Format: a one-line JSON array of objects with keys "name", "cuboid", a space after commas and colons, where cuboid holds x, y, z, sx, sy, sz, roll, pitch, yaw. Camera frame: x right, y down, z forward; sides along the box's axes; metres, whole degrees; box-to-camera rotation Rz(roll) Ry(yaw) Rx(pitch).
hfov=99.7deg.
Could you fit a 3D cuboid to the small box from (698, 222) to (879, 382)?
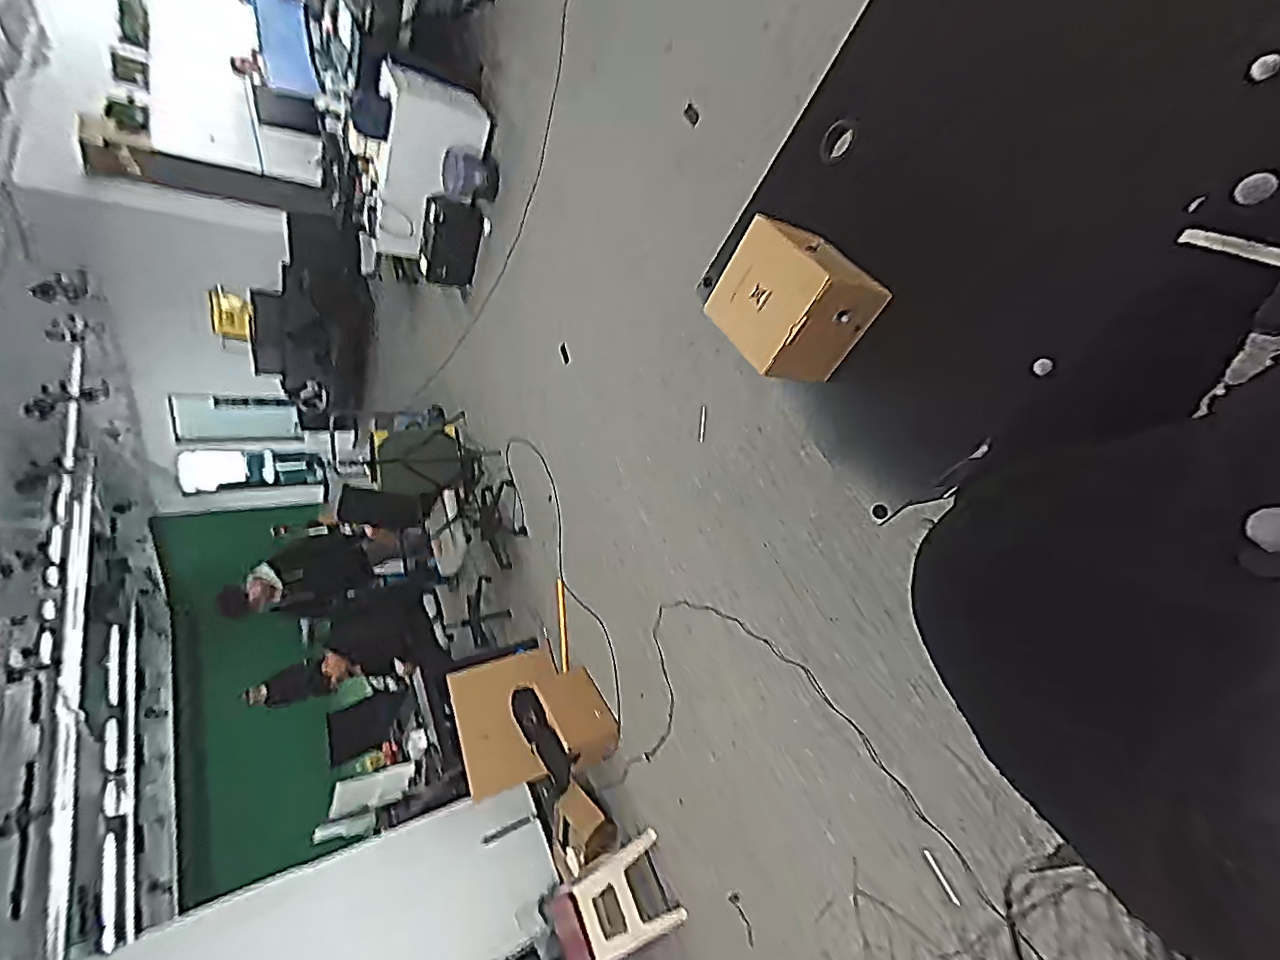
[{"name": "small box", "cuboid": [0.231, -0.269, 0.844, 0.179, 0.176, 0.168, 58, 133, 31]}]
